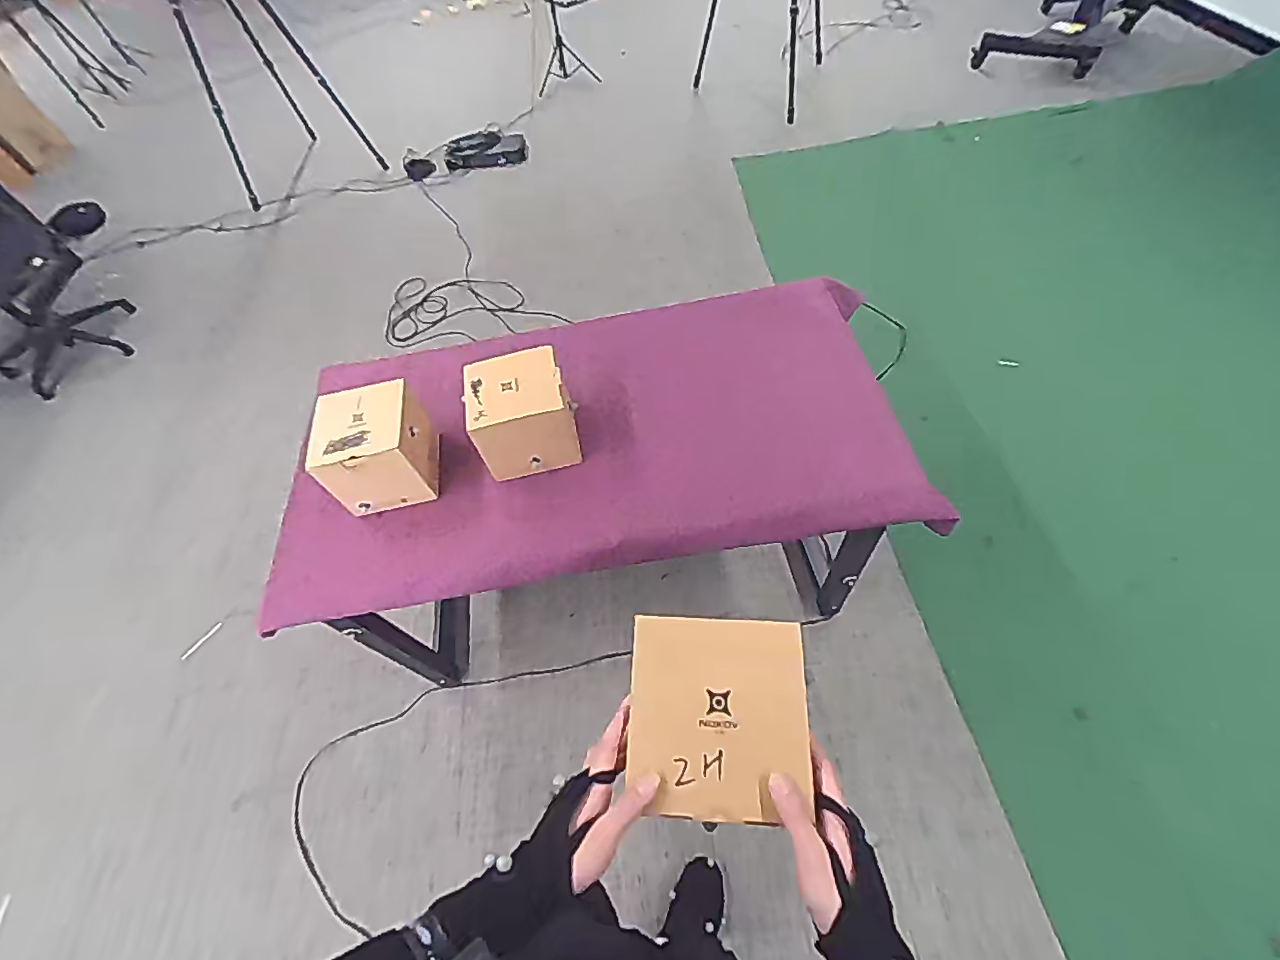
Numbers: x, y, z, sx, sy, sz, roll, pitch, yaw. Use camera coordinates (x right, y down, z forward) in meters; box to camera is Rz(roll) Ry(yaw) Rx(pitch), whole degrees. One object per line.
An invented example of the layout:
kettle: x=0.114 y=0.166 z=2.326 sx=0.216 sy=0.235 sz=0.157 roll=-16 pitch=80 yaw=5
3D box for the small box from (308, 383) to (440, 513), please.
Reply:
small box: x=-0.496 y=-0.052 z=1.037 sx=0.168 sy=0.176 sz=0.179 roll=-13 pitch=55 yaw=-2

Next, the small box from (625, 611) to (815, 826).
small box: x=0.078 y=0.250 z=0.572 sx=0.168 sy=0.176 sz=0.179 roll=1 pitch=63 yaw=5

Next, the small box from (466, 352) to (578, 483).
small box: x=-0.221 y=-0.116 z=1.046 sx=0.179 sy=0.176 sz=0.168 roll=-13 pitch=56 yaw=-2
